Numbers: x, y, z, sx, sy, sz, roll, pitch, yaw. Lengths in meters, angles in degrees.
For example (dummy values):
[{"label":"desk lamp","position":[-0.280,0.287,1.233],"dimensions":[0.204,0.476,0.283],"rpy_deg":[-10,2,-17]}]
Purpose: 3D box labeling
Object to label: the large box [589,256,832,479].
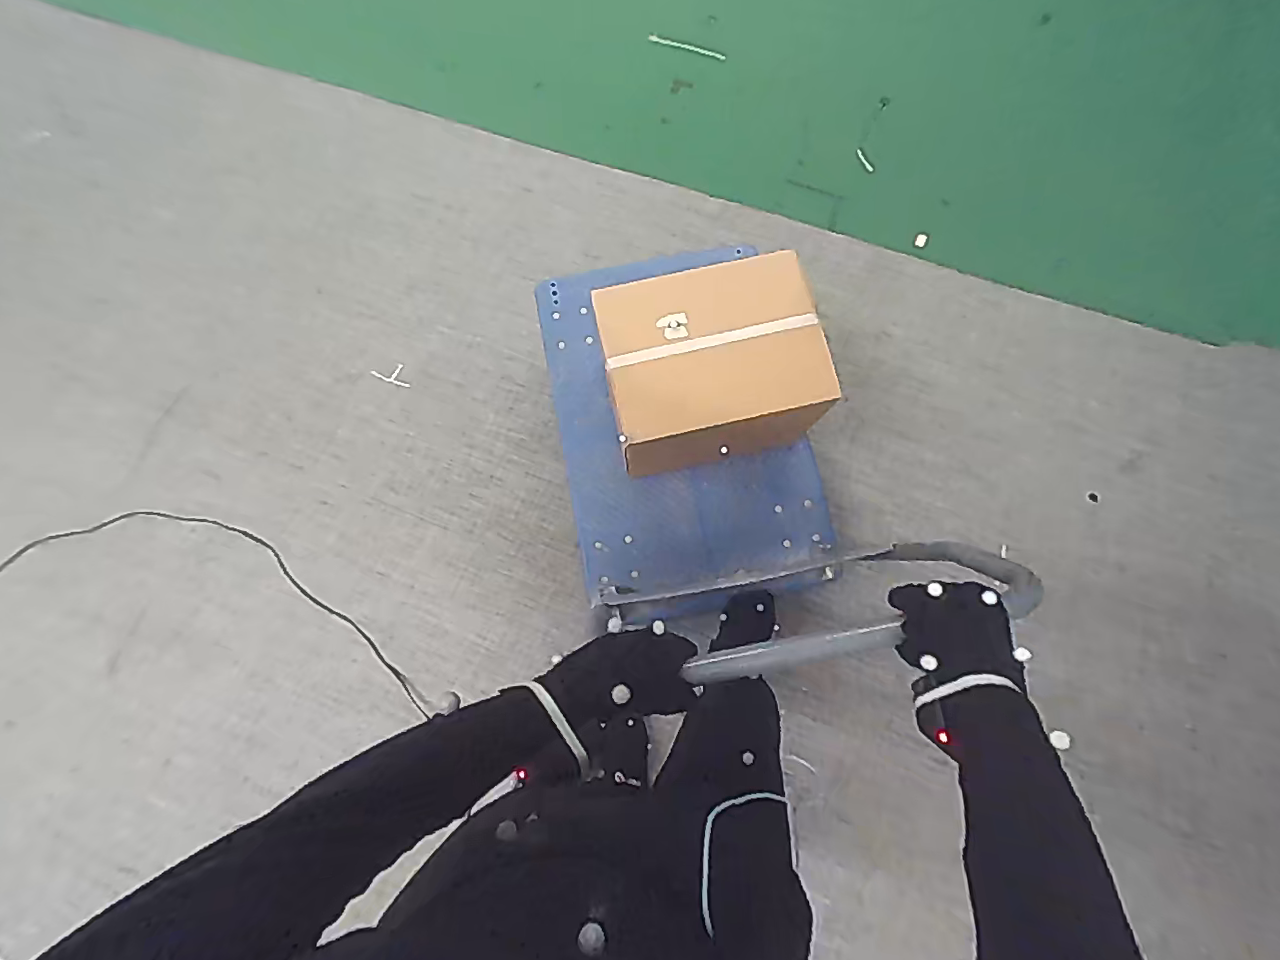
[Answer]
[{"label":"large box","position":[0.133,-0.218,1.166],"dimensions":[0.408,0.320,0.320],"rpy_deg":[-14,78,-1]}]
